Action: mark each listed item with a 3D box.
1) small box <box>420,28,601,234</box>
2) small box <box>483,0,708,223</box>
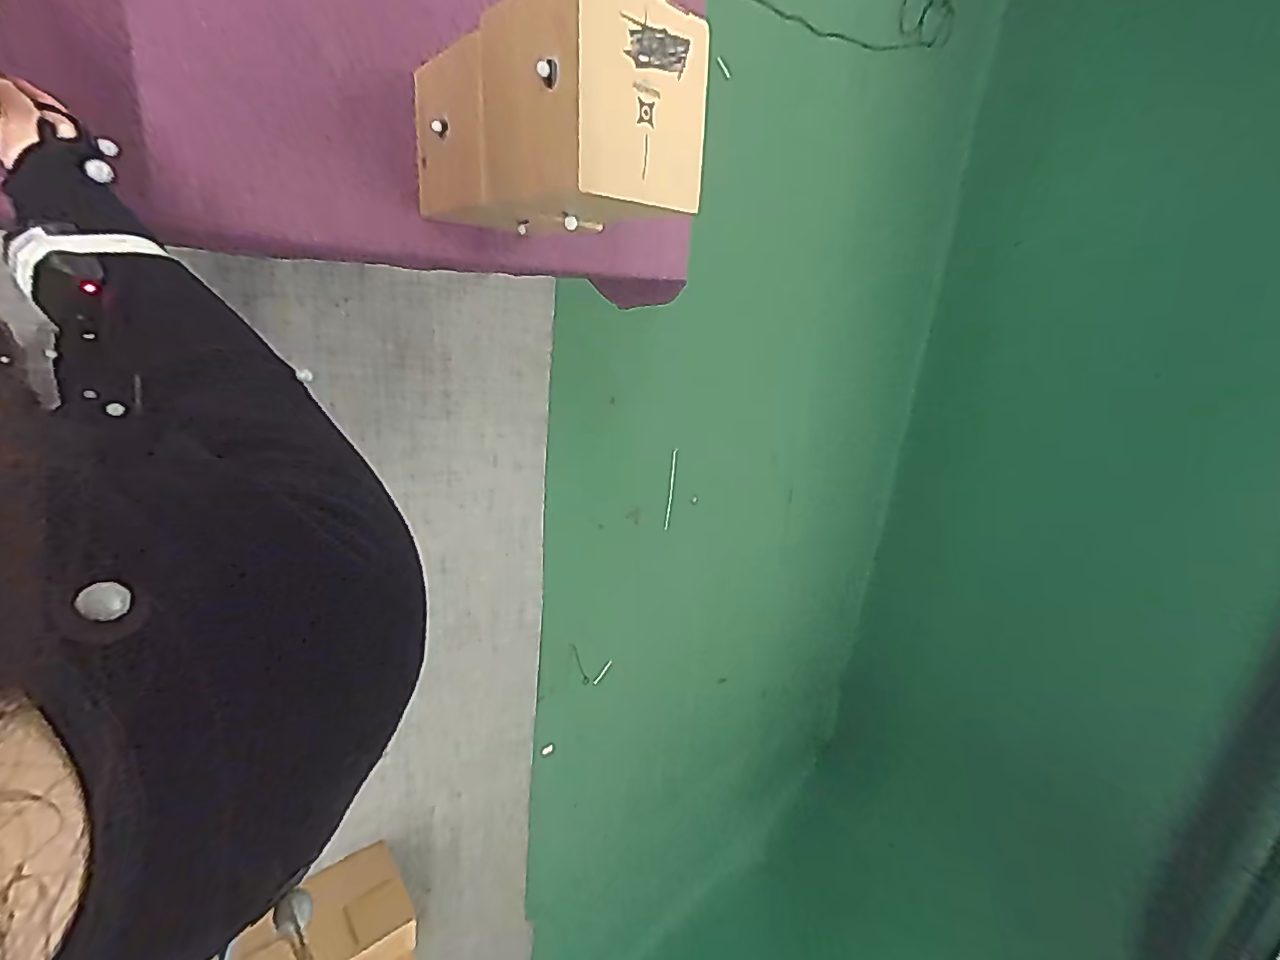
[{"bbox_3d":[-0.163,-0.412,0.679,0.179,0.176,0.168,-12,113,-42],"label":"small box"},{"bbox_3d":[-0.050,-0.379,0.563,0.168,0.176,0.179,-15,115,-41],"label":"small box"}]
